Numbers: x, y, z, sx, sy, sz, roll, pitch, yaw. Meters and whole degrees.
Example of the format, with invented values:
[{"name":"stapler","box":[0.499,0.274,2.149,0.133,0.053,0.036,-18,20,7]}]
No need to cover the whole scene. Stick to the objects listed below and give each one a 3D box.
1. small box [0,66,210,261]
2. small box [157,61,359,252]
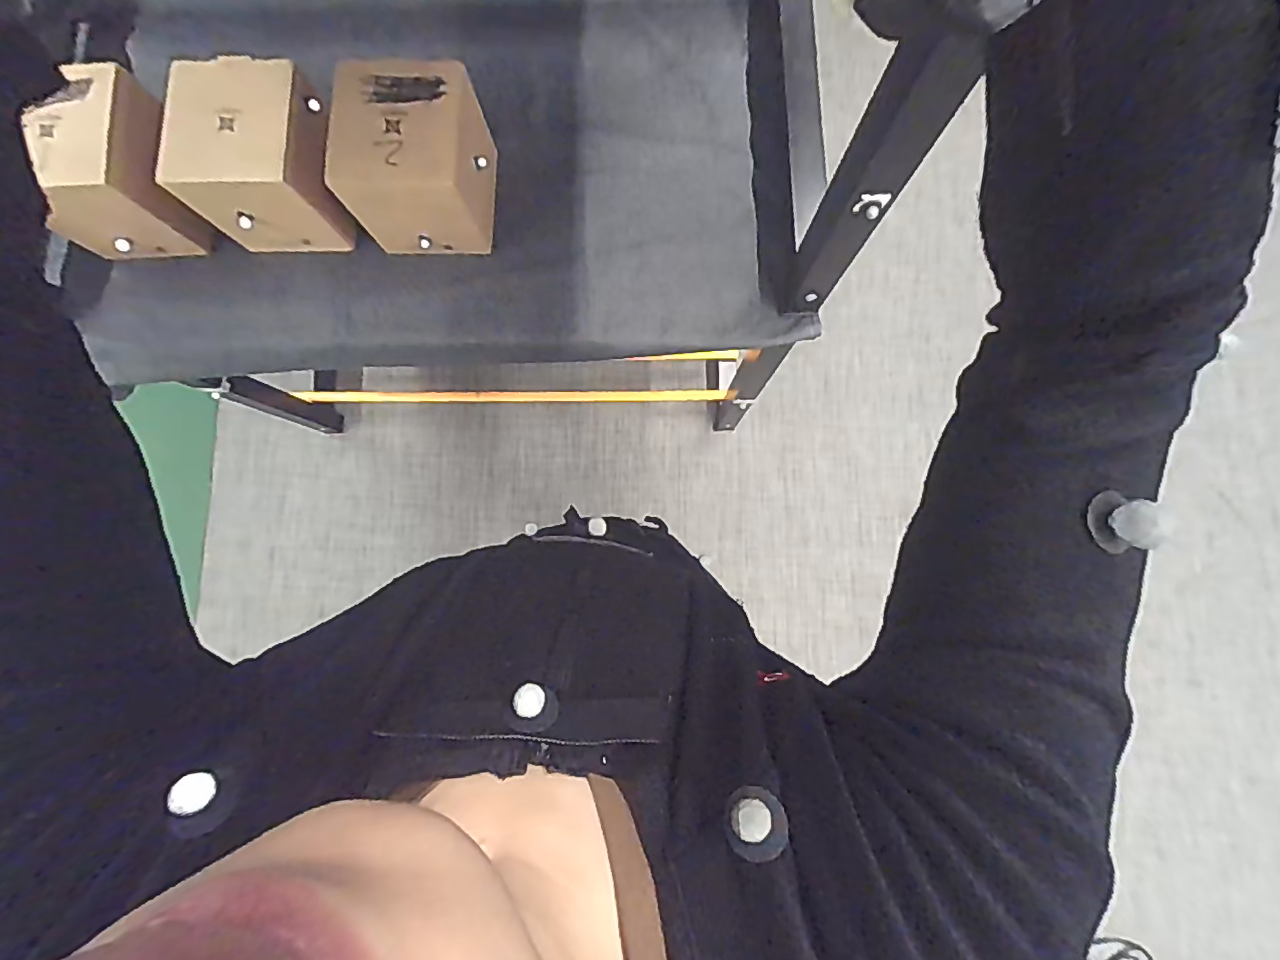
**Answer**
[{"name":"small box","box":[-0.751,-0.438,0.768,0.168,0.176,0.179,-3,82,1]},{"name":"small box","box":[-0.524,-0.445,0.768,0.168,0.176,0.179,0,82,0]}]
